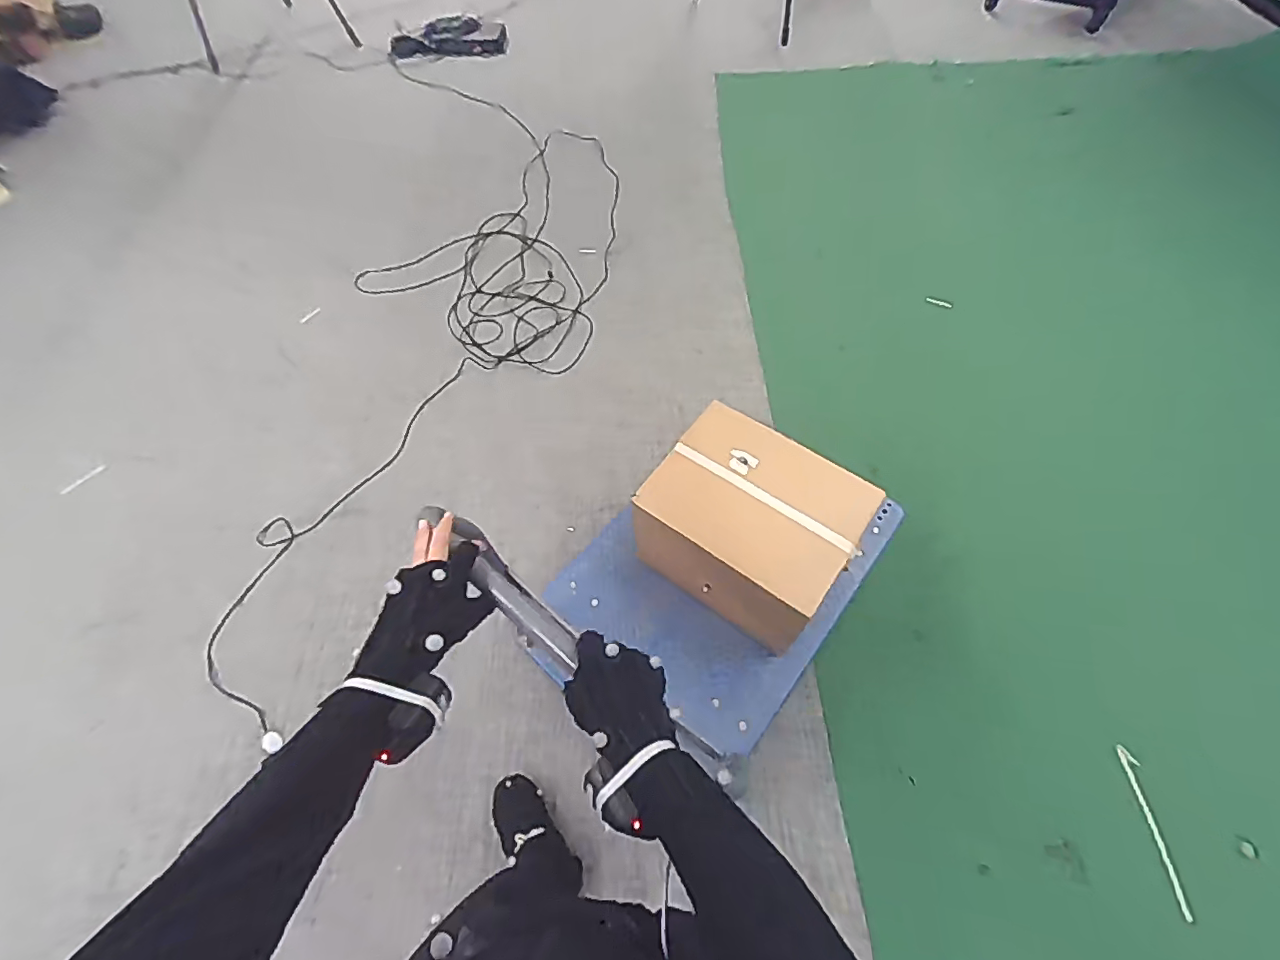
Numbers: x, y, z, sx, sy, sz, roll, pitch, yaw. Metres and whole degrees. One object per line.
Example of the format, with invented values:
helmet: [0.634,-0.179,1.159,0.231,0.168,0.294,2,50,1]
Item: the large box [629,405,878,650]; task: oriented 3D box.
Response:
large box: [0.233,0.111,1.203,0.408,0.320,0.320,33,66,20]
